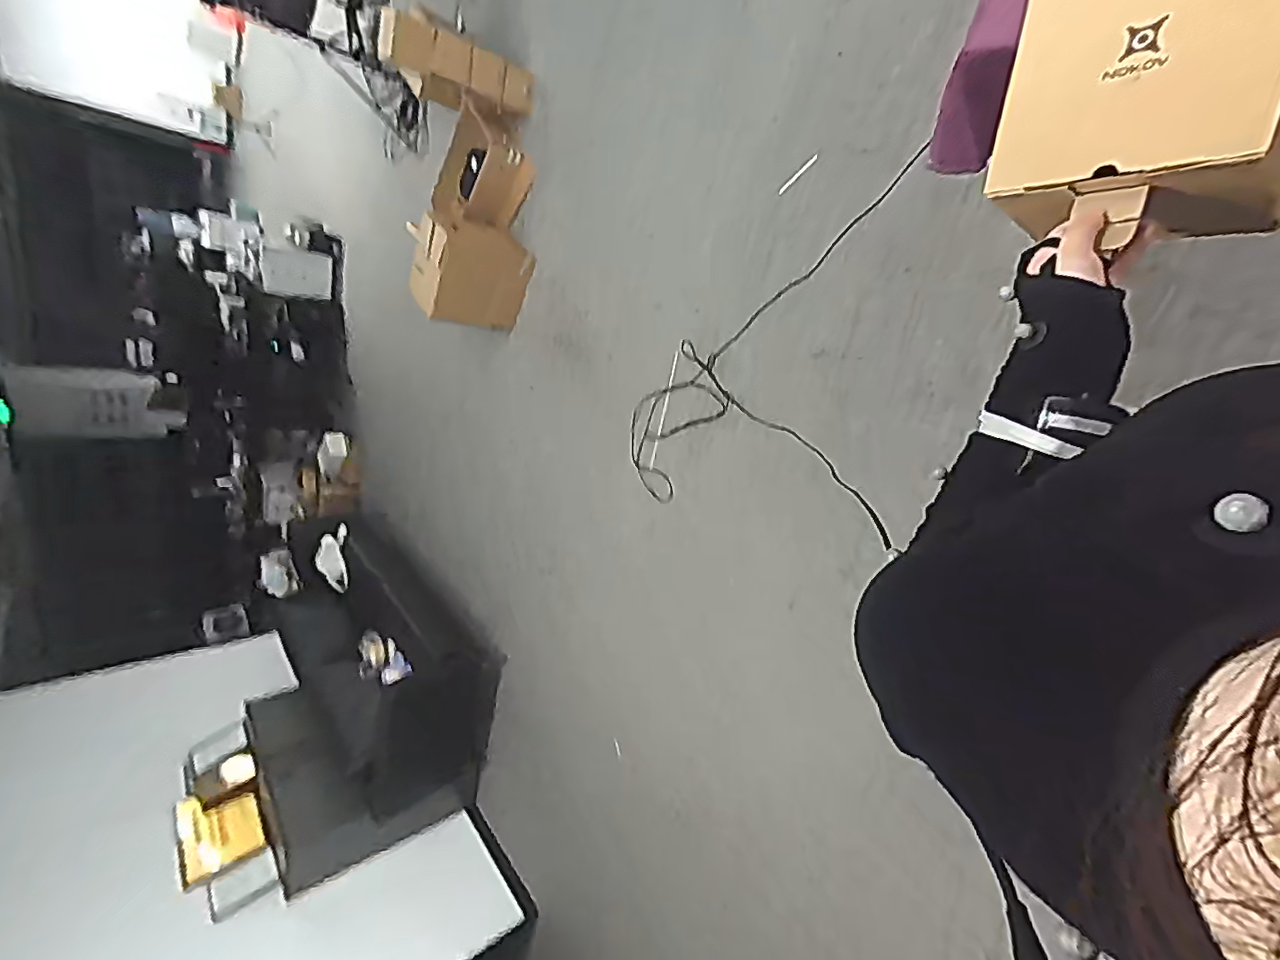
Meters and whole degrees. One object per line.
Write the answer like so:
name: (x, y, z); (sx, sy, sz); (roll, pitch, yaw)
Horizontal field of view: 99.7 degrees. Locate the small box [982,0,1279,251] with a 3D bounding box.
small box: (0.415, -0.302, 0.437); (0.168, 0.176, 0.179); (21, 107, 48)
